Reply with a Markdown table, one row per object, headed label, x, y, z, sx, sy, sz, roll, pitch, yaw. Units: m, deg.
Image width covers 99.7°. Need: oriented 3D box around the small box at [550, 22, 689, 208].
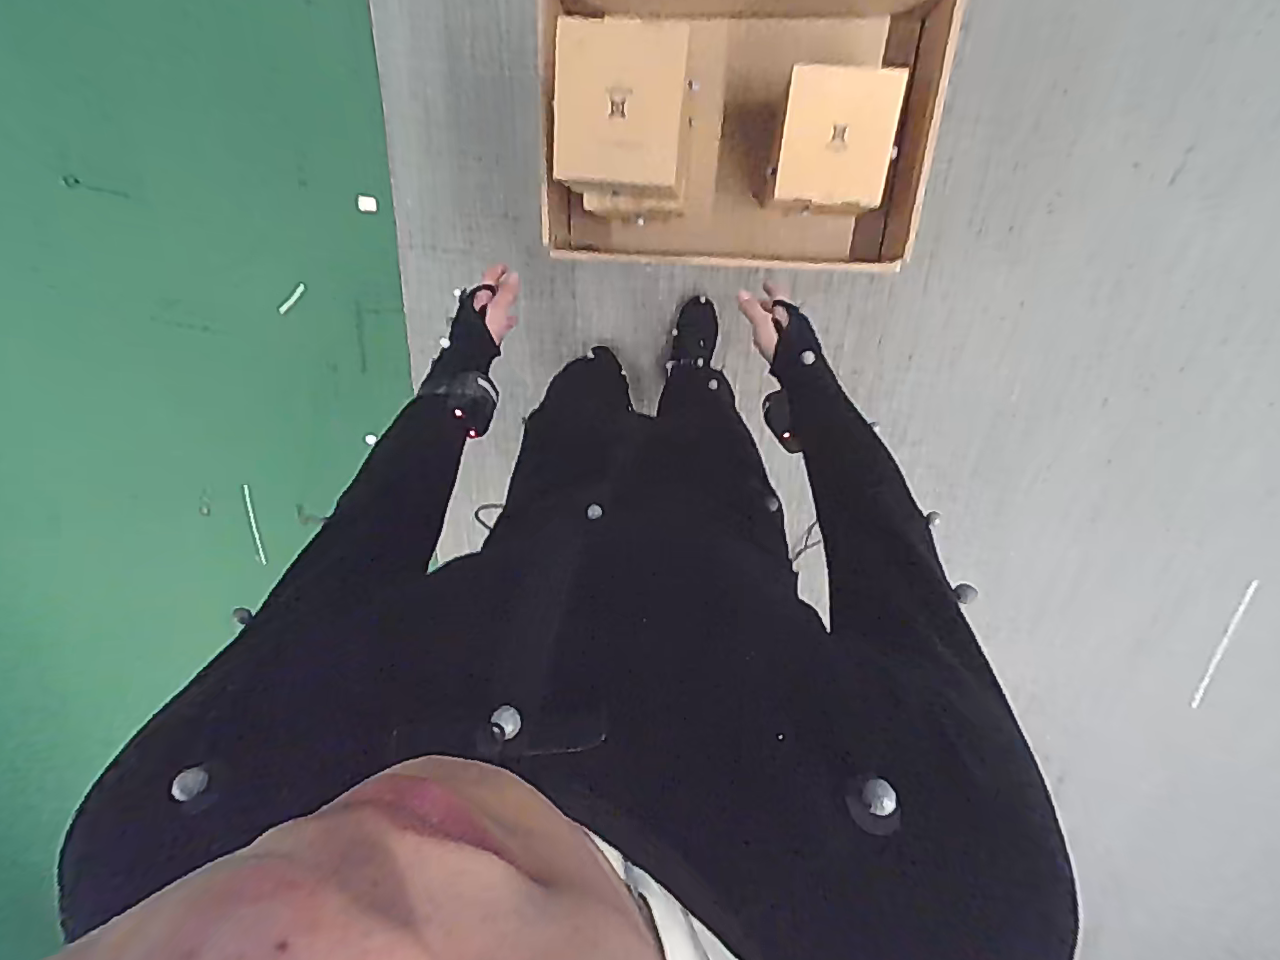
| label | x | y | z | sx | sy | sz | roll | pitch | yaw |
| --- | --- | --- | --- | --- | --- | --- | --- | --- | --- |
| small box | -0.022 | -0.497 | 0.761 | 0.168 | 0.176 | 0.179 | 7 | 110 | 5 |
